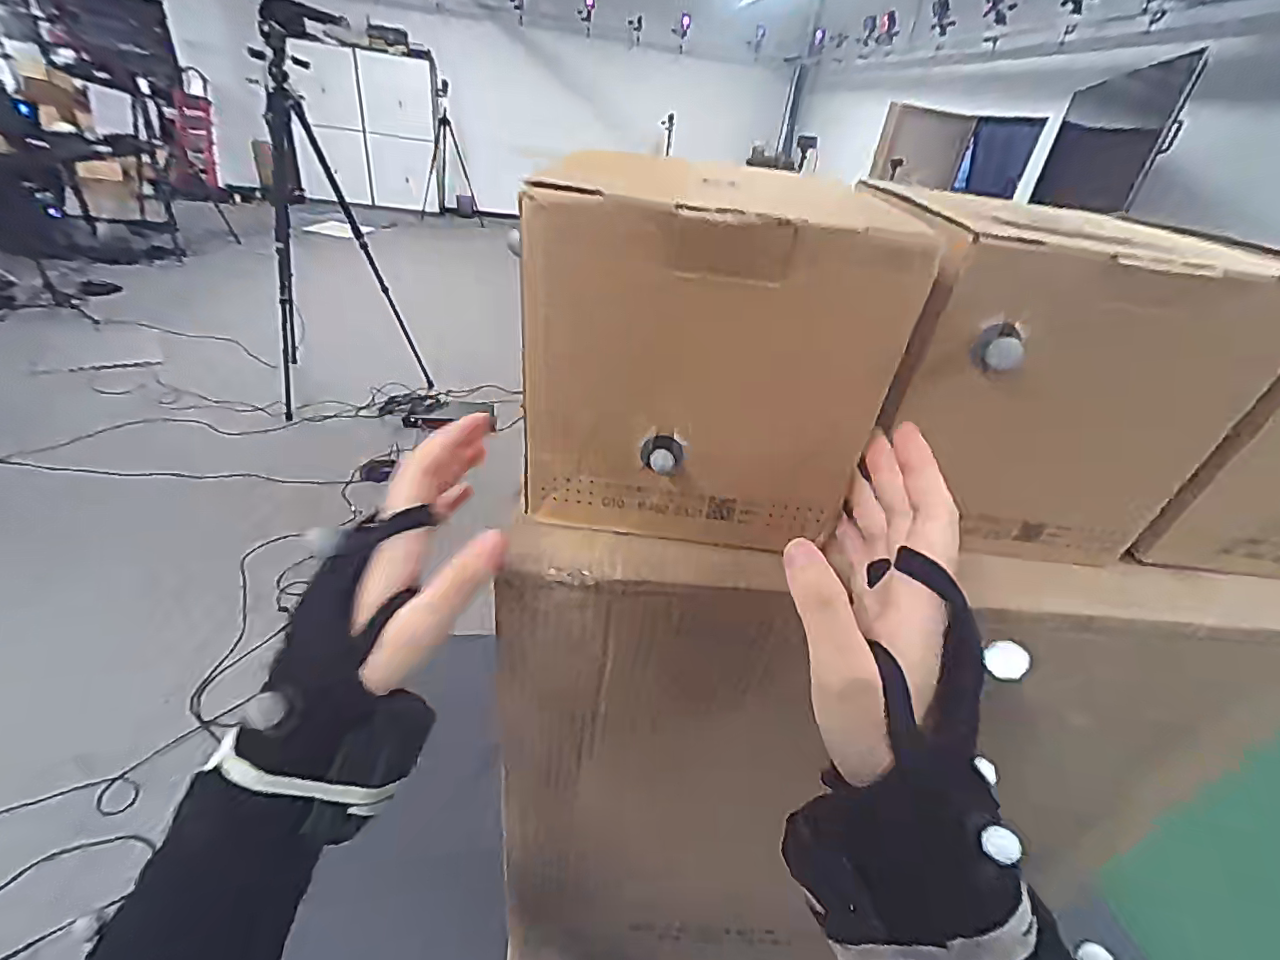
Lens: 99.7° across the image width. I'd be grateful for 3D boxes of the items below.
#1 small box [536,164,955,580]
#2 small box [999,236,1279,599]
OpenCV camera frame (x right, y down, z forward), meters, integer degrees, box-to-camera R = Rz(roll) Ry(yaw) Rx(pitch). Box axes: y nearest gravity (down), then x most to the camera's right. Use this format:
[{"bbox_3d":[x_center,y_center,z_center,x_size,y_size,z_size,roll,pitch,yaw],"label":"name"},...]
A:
[{"bbox_3d":[0.035,-0.069,0.318,0.168,0.176,0.179,7,36,-2],"label":"small box"},{"bbox_3d":[0.391,-0.042,0.357,0.168,0.176,0.179,6,35,-7],"label":"small box"}]
